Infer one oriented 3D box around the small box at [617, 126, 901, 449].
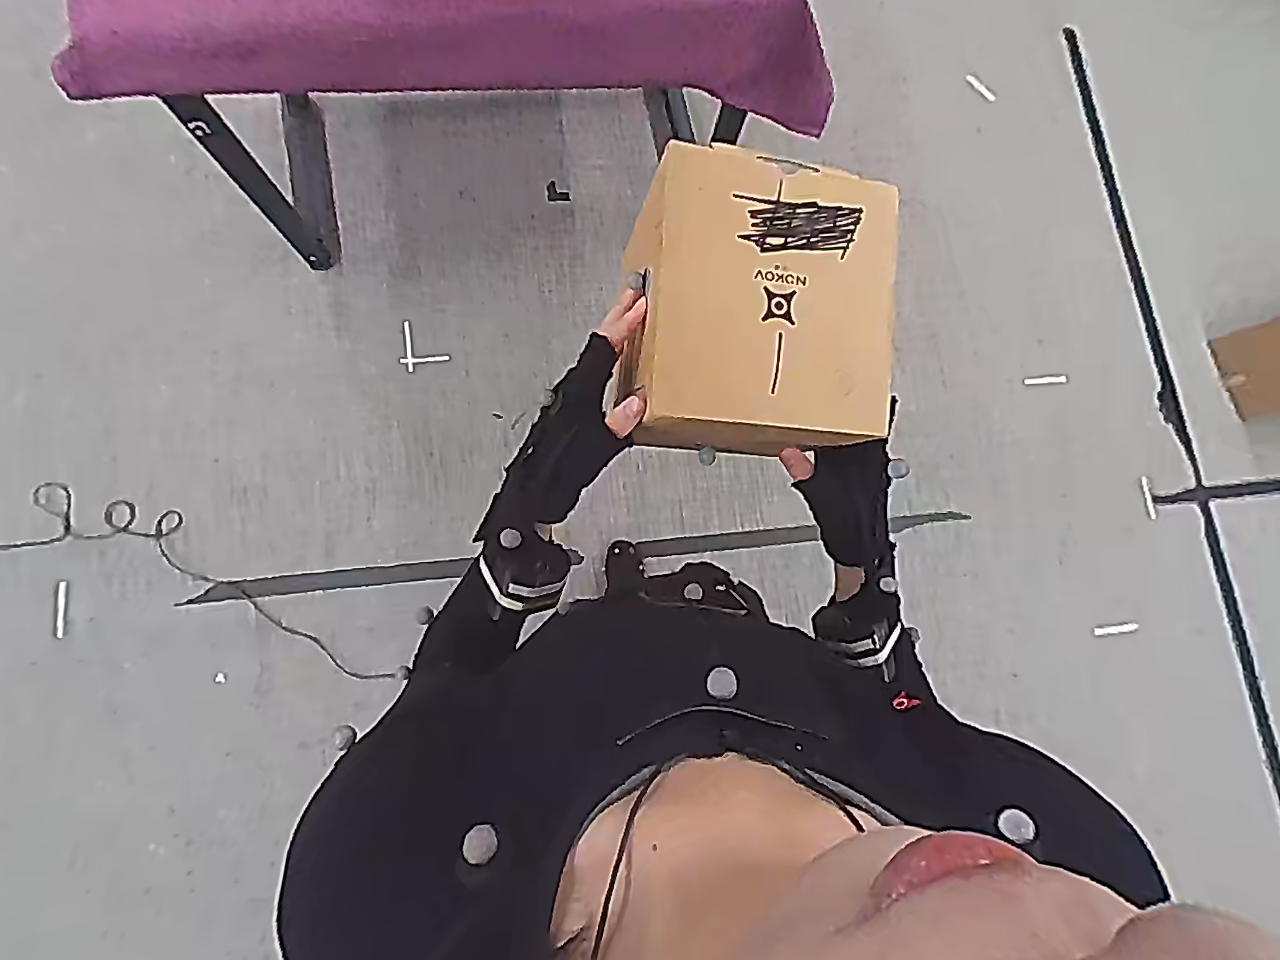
[{"bbox_3d":[0.077,-0.126,0.426,0.168,0.176,0.179,3,86,-11],"label":"small box"}]
